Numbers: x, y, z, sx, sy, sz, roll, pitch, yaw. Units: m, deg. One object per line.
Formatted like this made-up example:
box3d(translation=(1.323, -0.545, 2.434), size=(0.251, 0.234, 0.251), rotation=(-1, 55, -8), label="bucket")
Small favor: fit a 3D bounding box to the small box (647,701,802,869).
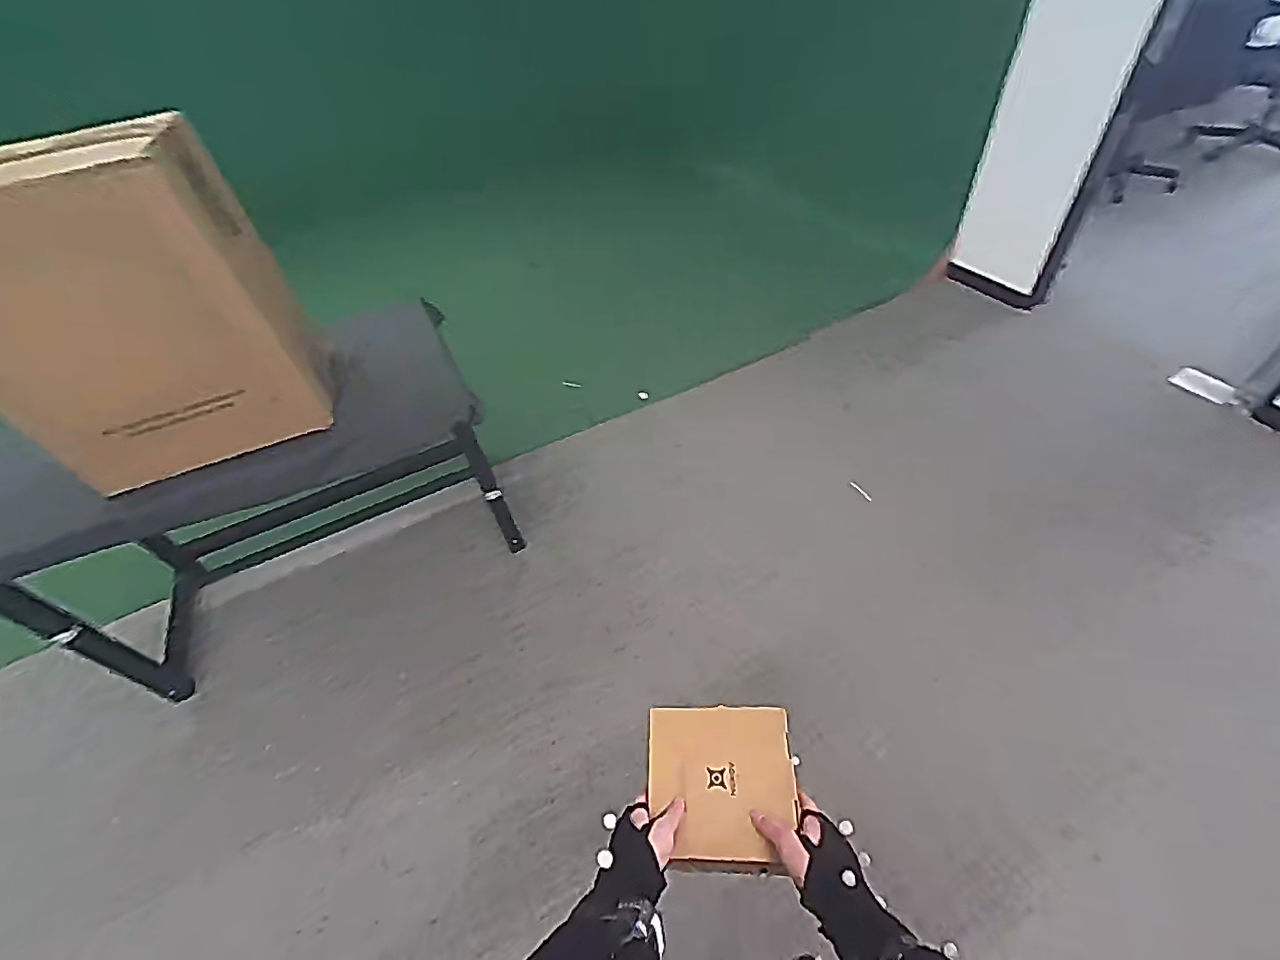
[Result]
box3d(translation=(0.109, 0.405, 0.716), size=(0.179, 0.176, 0.168), rotation=(-6, 48, 9), label="small box")
